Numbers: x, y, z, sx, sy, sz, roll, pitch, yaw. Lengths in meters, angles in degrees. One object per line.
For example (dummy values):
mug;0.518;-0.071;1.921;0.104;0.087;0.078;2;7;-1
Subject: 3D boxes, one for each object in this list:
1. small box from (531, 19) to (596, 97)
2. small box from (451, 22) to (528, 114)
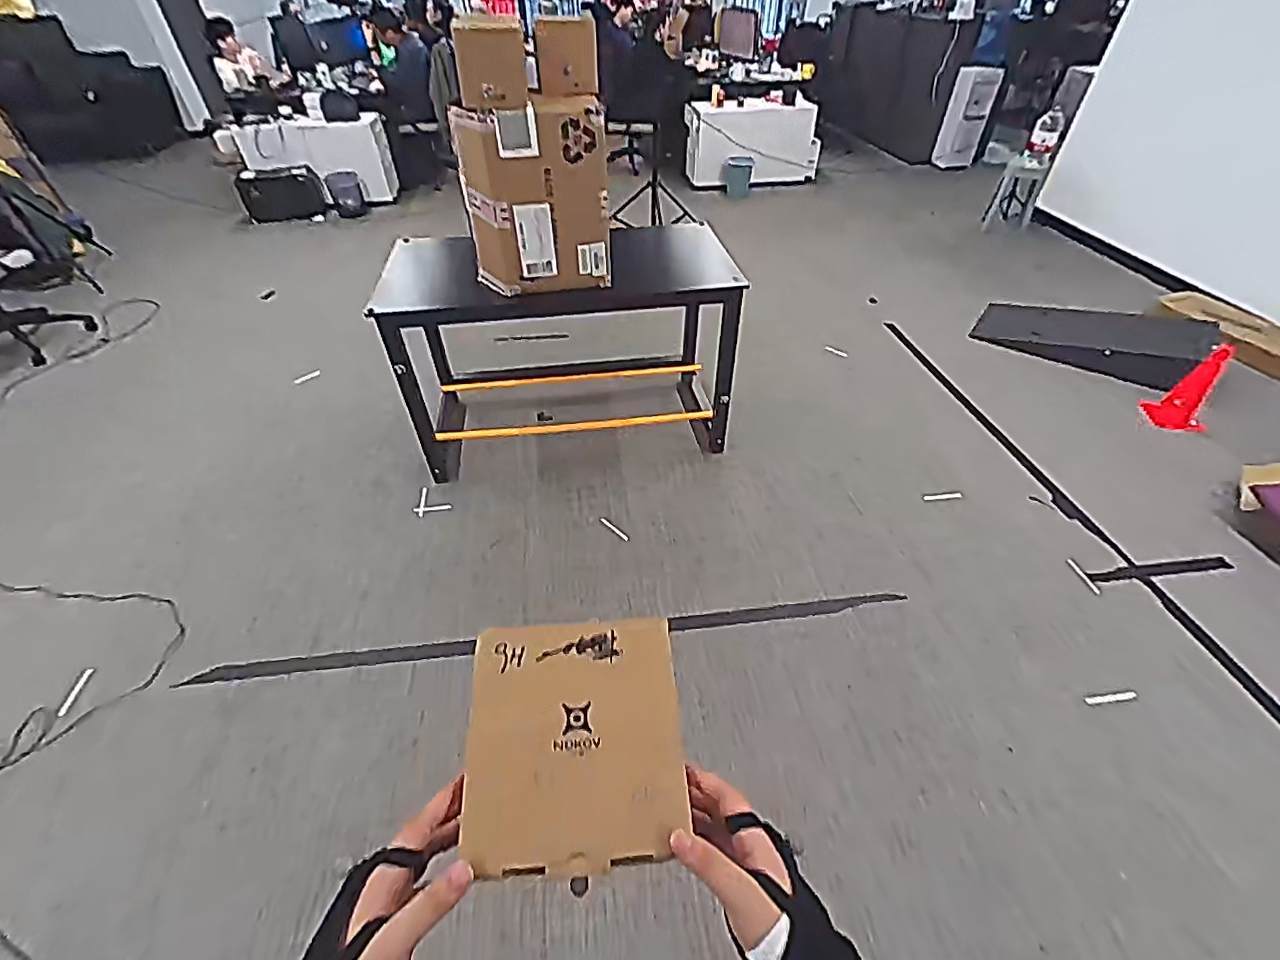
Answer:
small box;-0.223;-1.229;1.572;0.168;0.176;0.179;-8;42;-9
small box;-0.384;-1.065;1.396;0.168;0.176;0.179;-8;46;-9
